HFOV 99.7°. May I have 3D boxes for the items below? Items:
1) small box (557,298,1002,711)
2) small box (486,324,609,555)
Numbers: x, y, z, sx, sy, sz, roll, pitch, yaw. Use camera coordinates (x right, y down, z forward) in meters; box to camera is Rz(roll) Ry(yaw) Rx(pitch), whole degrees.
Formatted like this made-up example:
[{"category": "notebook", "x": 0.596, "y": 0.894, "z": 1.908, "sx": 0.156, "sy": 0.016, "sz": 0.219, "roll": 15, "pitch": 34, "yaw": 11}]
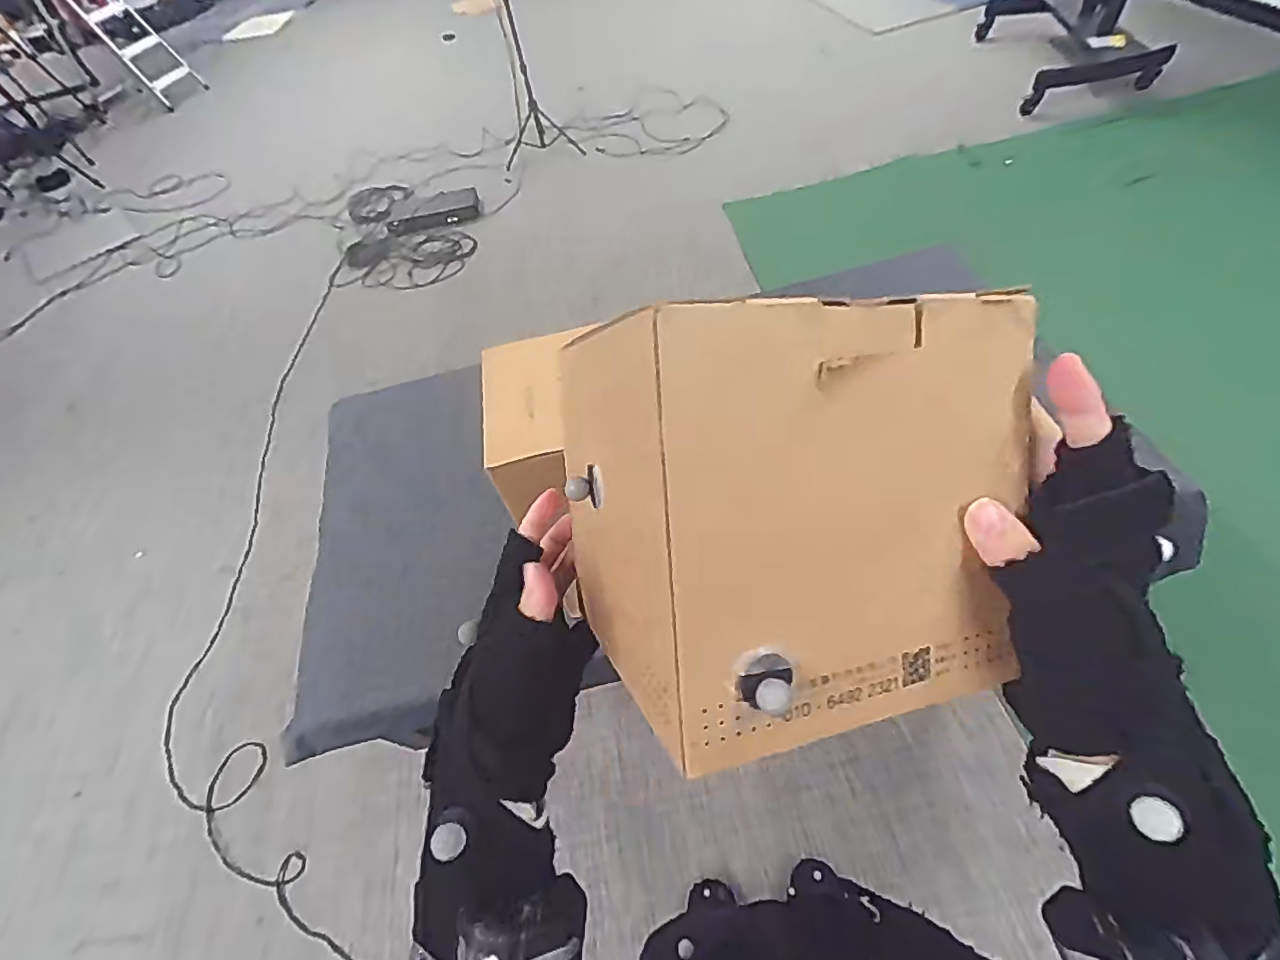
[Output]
[{"category": "small box", "x": 0.057, "y": 0.004, "z": 0.296, "sx": 0.168, "sy": 0.176, "sz": 0.179, "roll": -6, "pitch": 9, "yaw": -19}, {"category": "small box", "x": -0.053, "y": -0.041, "z": 0.583, "sx": 0.179, "sy": 0.176, "sz": 0.168, "roll": -14, "pitch": 52, "yaw": 0}]
